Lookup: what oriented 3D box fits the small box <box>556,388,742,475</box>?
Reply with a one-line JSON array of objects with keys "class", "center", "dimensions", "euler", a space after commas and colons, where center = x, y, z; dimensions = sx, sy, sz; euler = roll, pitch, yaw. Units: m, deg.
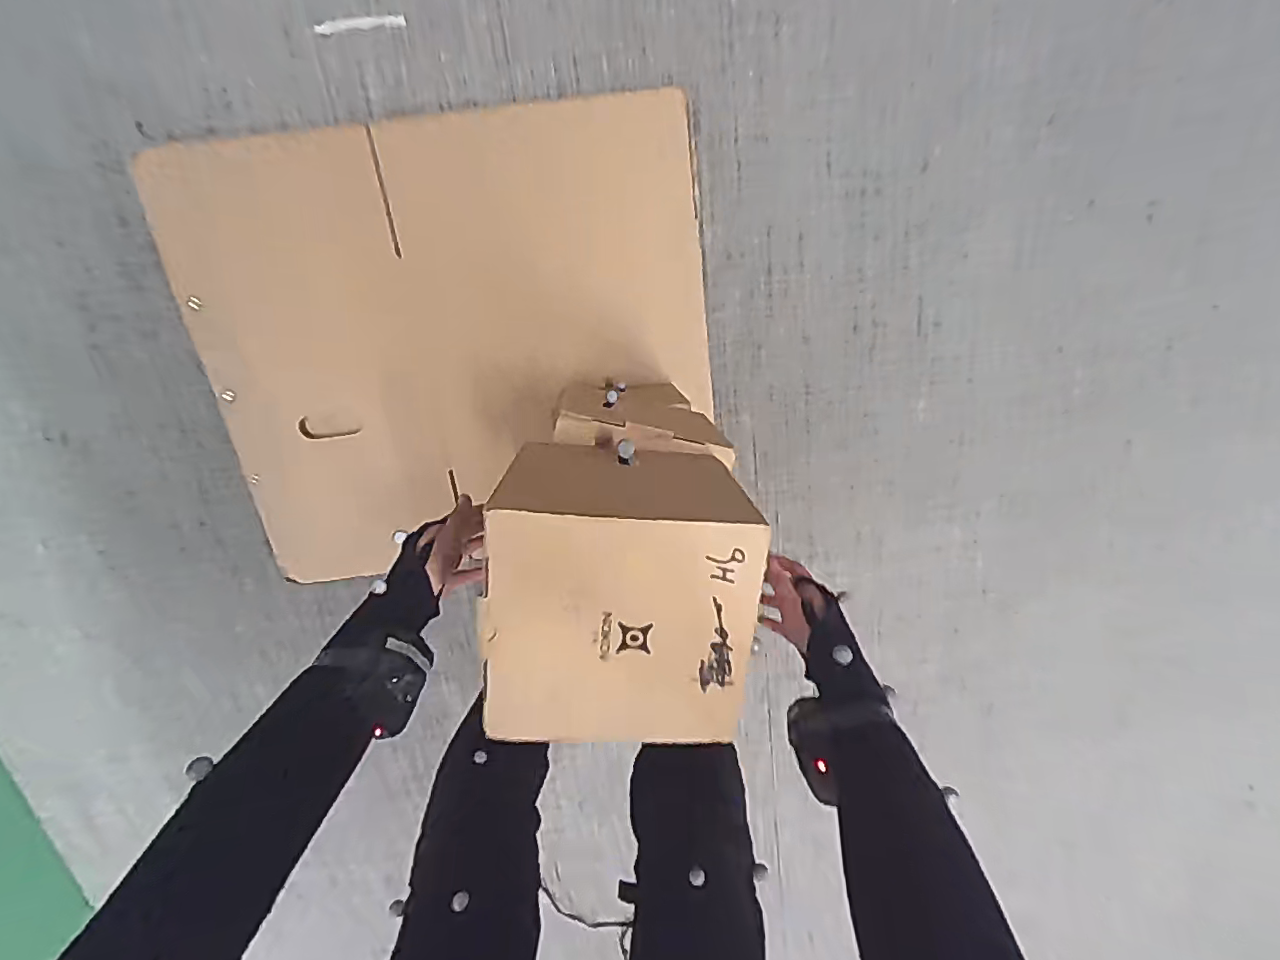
[{"class": "small box", "center": [-0.013, 0.011, 0.569], "dimensions": [0.168, 0.176, 0.179], "euler": [12, 107, -8]}]

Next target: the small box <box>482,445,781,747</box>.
[{"class": "small box", "center": [-0.013, 0.073, 0.417], "dimensions": [0.179, 0.176, 0.168], "euler": [5, 107, -5]}]
